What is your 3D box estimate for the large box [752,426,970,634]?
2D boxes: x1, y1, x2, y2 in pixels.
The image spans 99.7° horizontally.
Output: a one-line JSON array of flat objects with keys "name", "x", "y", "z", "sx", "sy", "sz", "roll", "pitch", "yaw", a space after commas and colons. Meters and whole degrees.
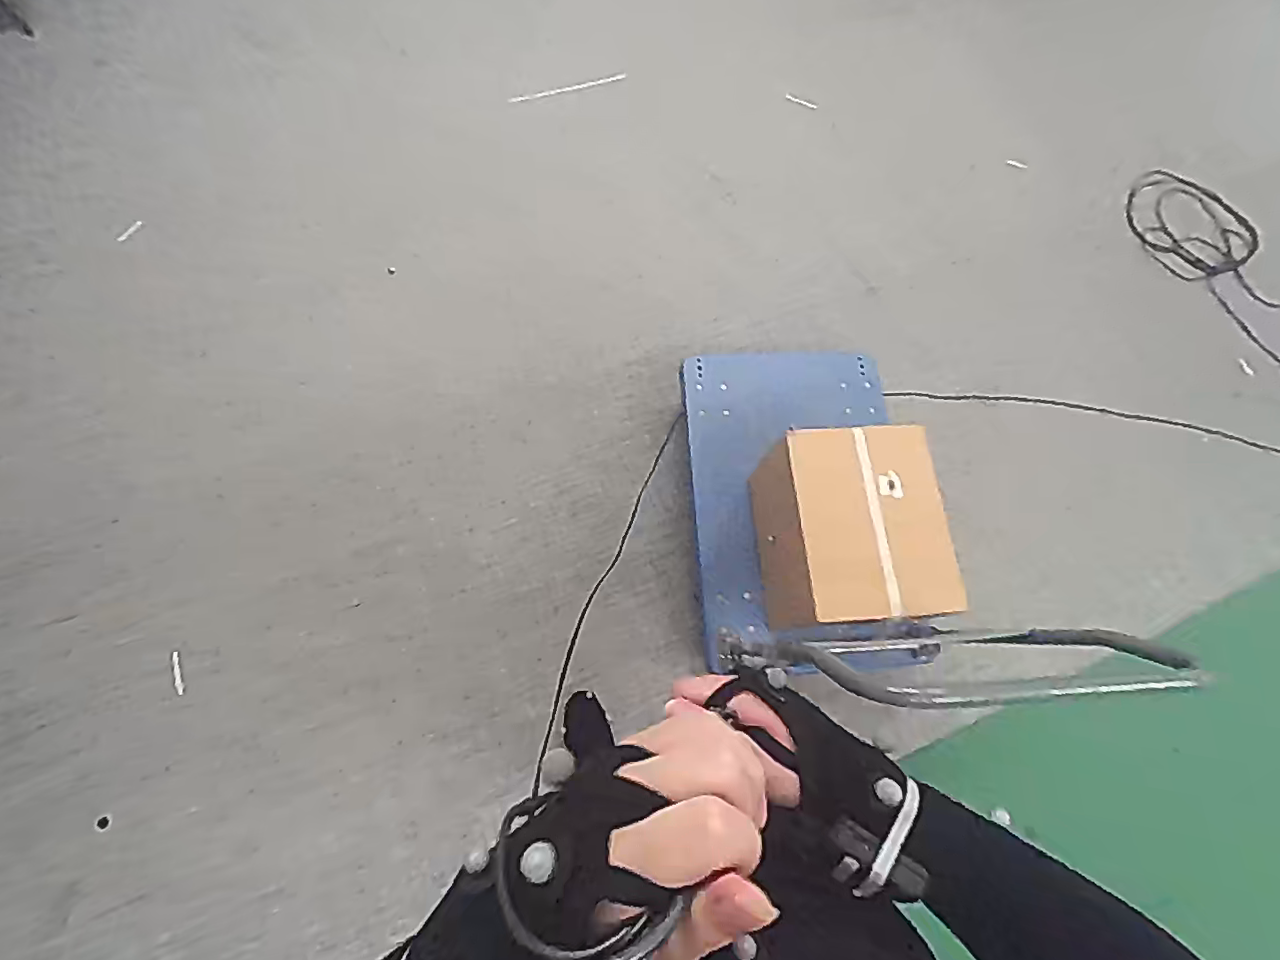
[{"name": "large box", "x": 0.469, "y": 0.128, "z": 1.243, "sx": 0.320, "sy": 0.320, "sz": 0.408, "roll": -3, "pitch": 71, "yaw": -6}]
